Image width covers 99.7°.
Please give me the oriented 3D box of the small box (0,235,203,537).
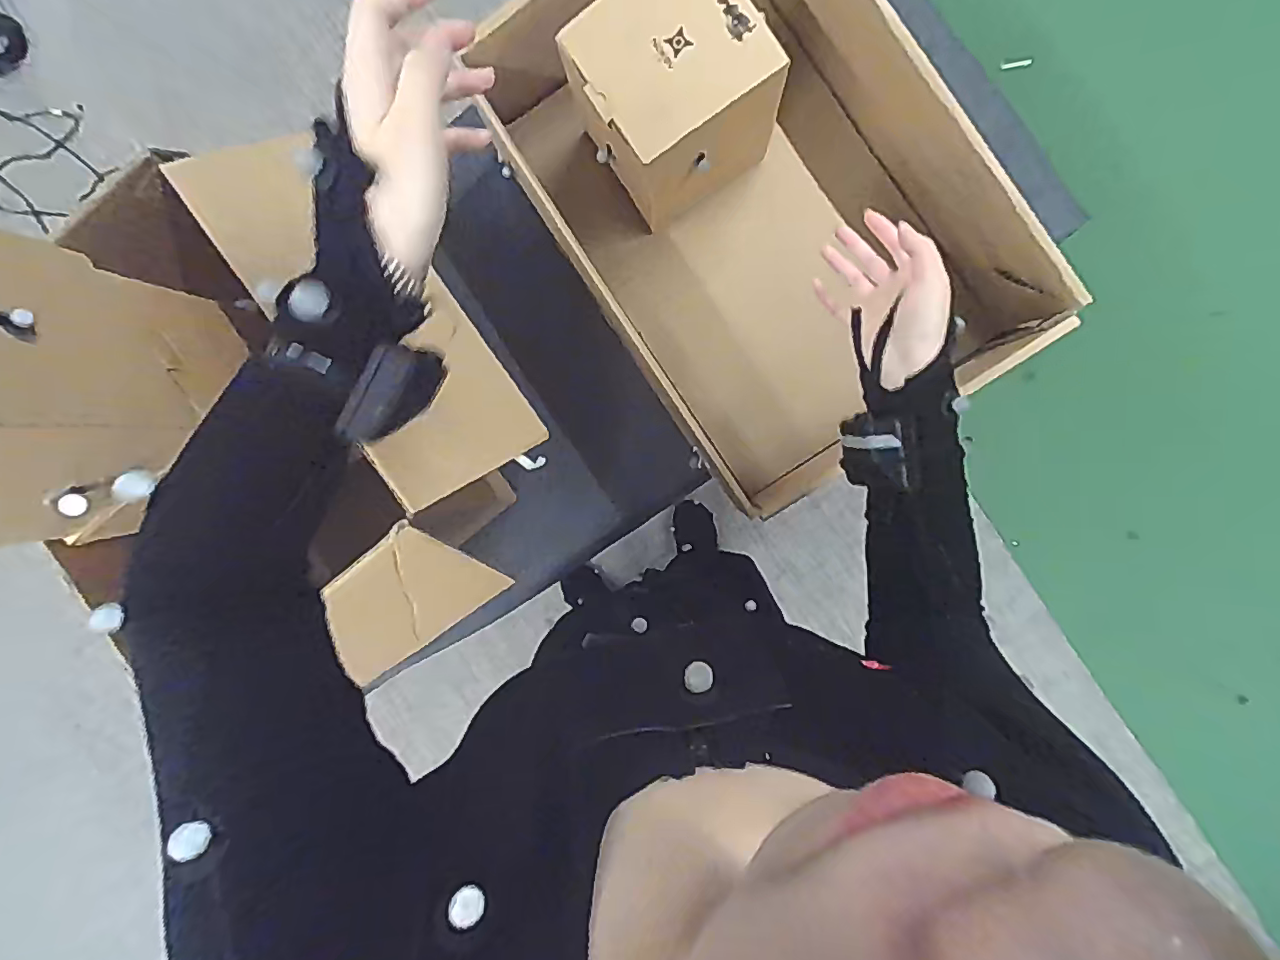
[{"bbox_3d":[-0.476,-0.063,0.376,0.168,0.176,0.179,-34,92,7],"label":"small box"}]
